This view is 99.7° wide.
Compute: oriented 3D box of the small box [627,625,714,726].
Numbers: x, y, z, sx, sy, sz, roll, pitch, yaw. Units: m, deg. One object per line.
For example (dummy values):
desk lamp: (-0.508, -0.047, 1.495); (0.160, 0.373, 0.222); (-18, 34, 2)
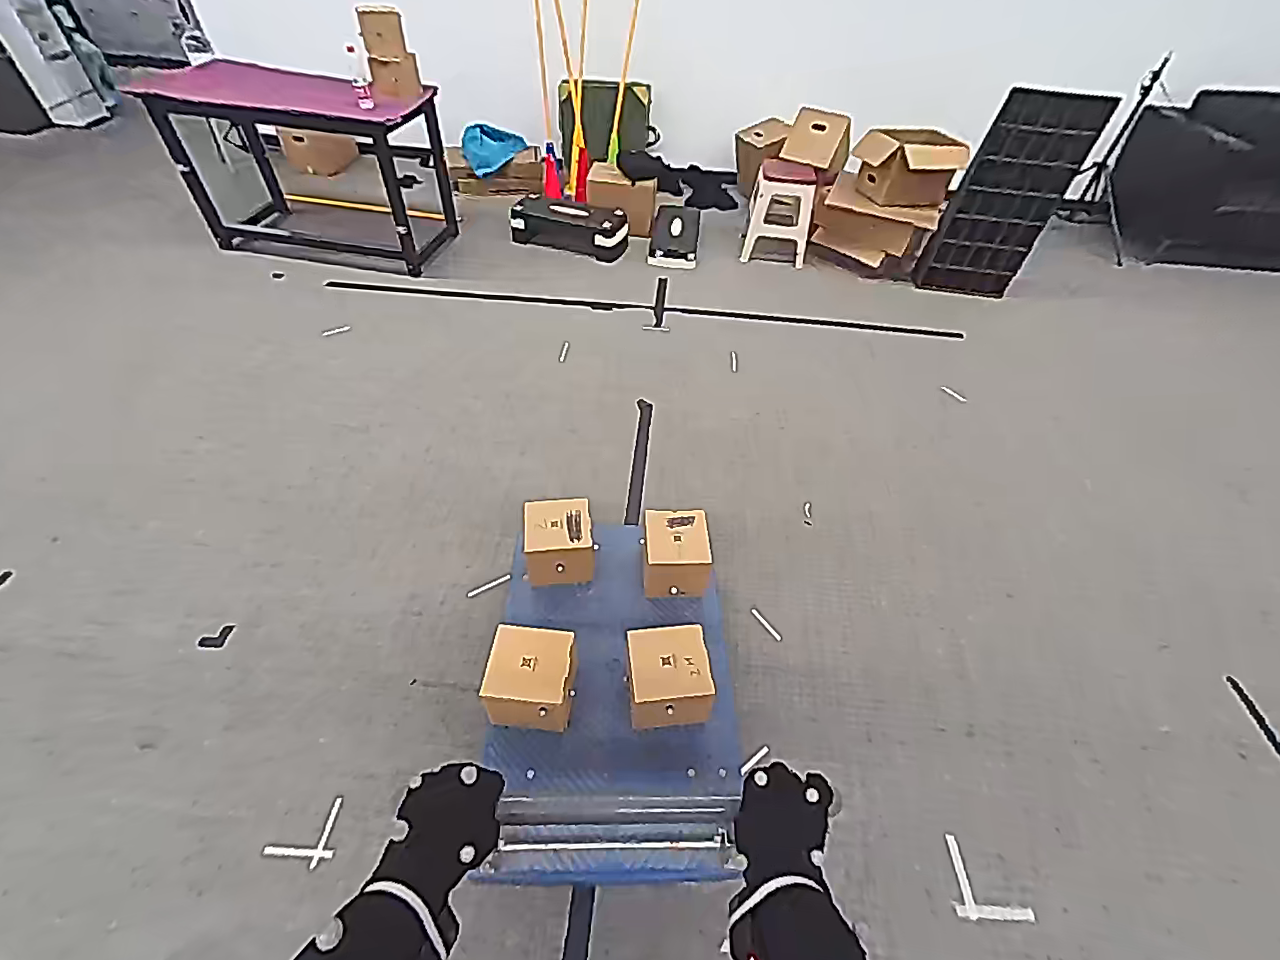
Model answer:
small box: (0.062, 0.456, 1.256); (0.179, 0.176, 0.168); (-3, 48, -6)

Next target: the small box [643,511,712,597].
small box: (0.097, 0.204, 1.490); (0.168, 0.176, 0.179); (0, 48, -4)

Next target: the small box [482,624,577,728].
small box: (-0.245, 0.451, 1.240); (0.179, 0.176, 0.168); (7, 47, 0)
